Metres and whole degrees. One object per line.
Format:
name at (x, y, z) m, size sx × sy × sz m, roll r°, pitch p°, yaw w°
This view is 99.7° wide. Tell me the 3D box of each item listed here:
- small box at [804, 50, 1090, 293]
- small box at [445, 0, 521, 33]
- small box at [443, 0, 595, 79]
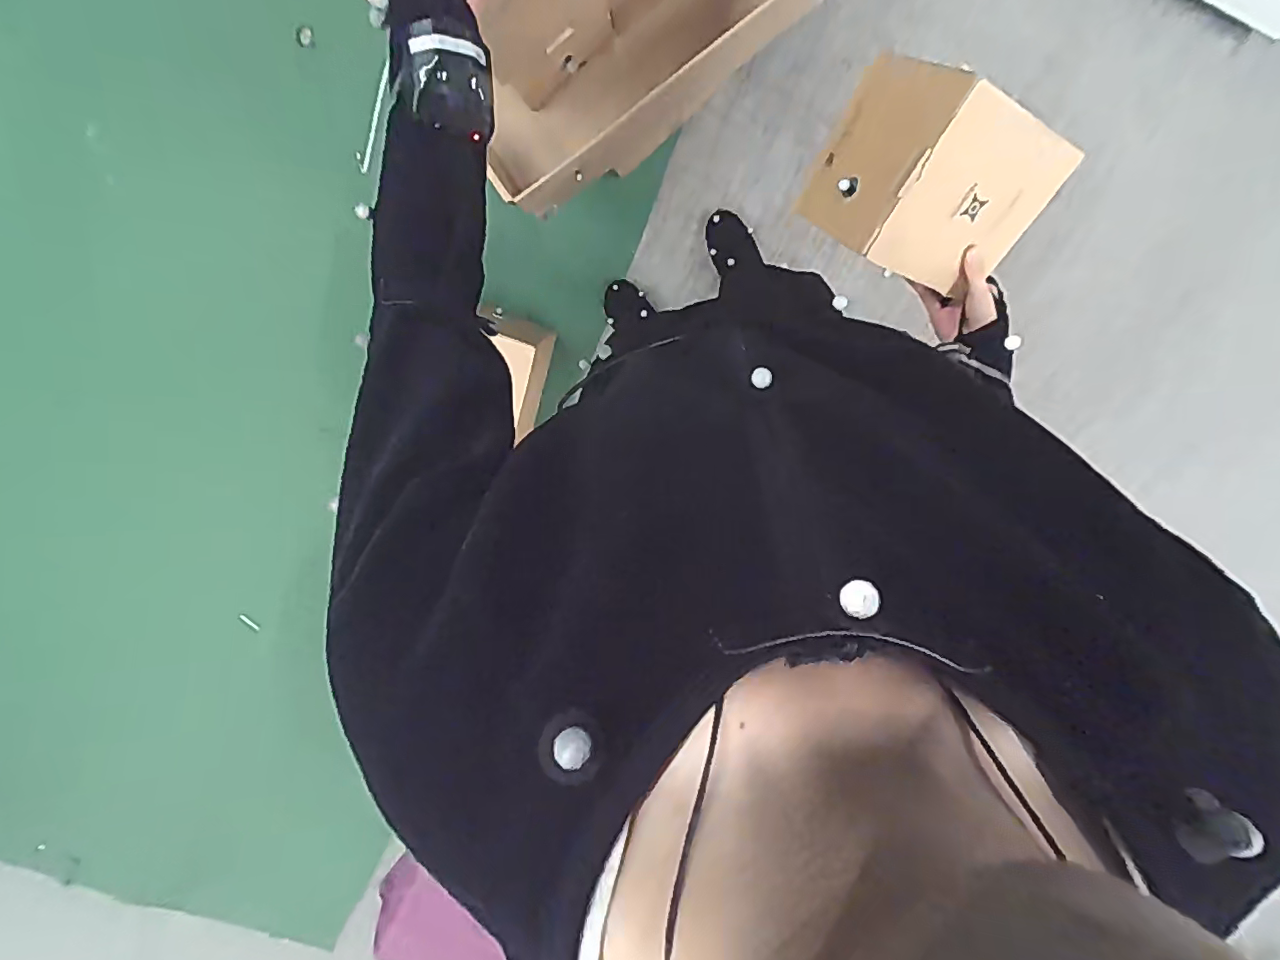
small box at (0.316, -0.338, 0.594) m, size 0.179 × 0.176 × 0.168 m, roll 9°, pitch 129°, yaw -25°
small box at (-0.162, -0.542, 0.455) m, size 0.168 × 0.176 × 0.179 m, roll -38°, pitch 108°, yaw 15°
small box at (-0.156, -0.606, 0.606) m, size 0.179 × 0.176 × 0.168 m, roll -32°, pitch 108°, yaw 13°
